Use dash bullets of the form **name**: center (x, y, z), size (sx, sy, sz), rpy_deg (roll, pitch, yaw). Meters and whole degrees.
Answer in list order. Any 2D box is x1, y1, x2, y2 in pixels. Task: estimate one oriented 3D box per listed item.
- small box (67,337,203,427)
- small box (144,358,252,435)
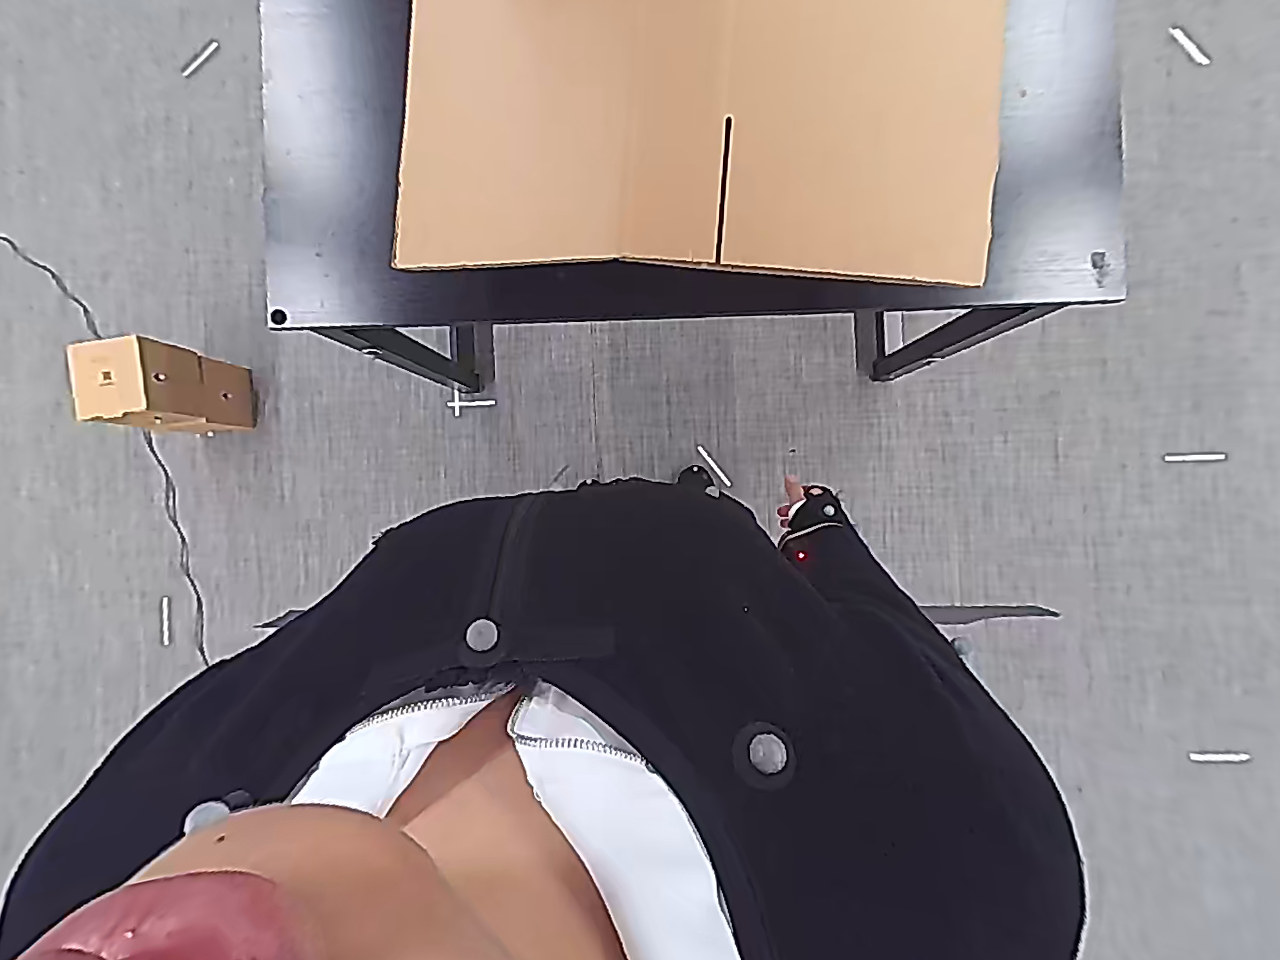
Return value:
- **small box**: center (-1.196, -0.226, 1.295), size (0.168, 0.176, 0.179), rpy_deg (-8, 89, 1)
- **small box**: center (-1.188, -0.220, 1.457), size (0.168, 0.176, 0.179), rpy_deg (-5, 90, 2)
